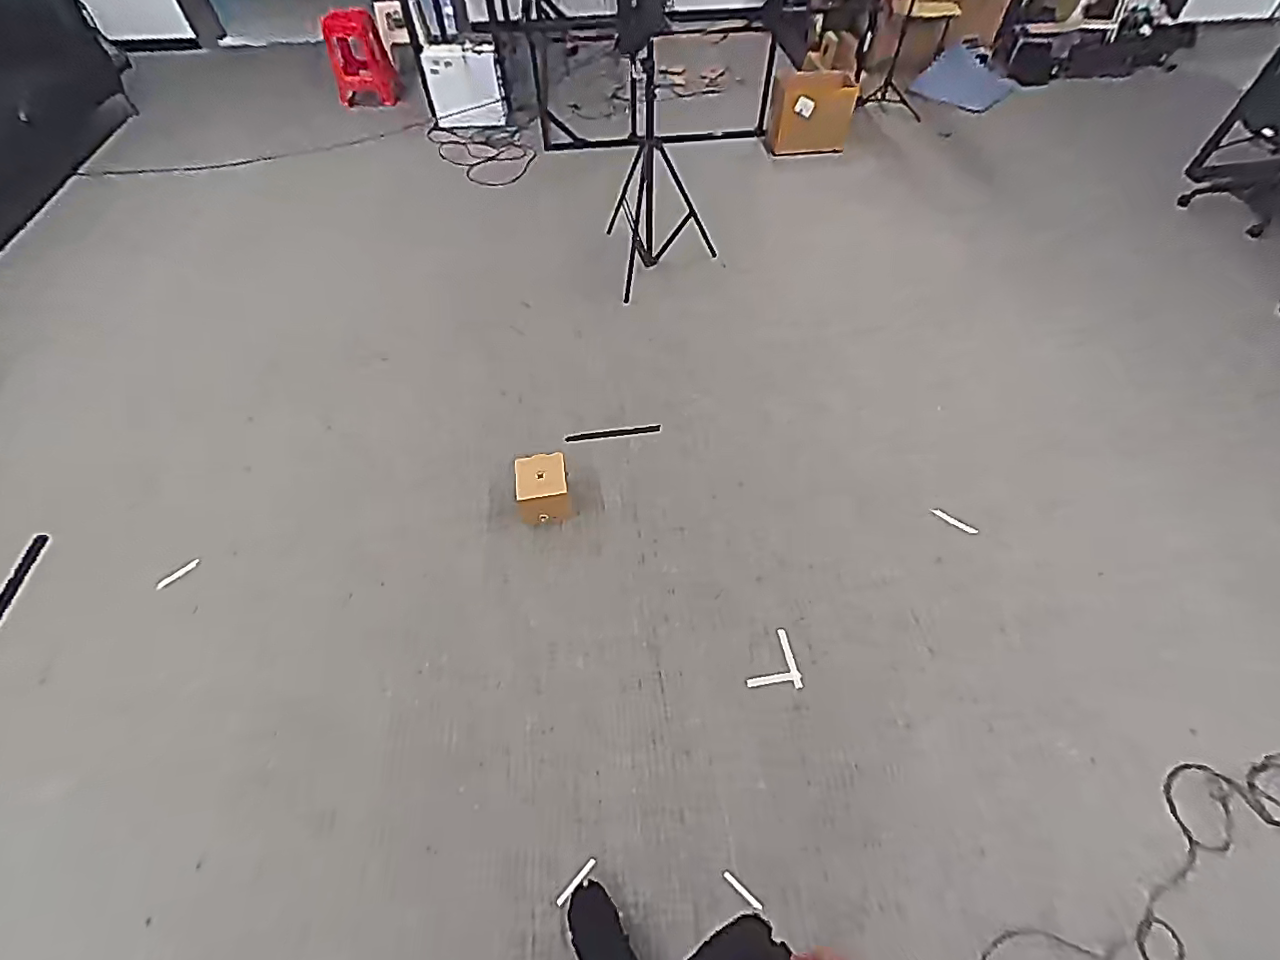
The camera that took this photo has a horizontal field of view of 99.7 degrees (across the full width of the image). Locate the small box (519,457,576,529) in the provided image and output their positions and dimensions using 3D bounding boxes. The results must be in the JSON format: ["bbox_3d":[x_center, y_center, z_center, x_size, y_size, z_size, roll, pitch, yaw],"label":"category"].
[{"bbox_3d":[-0.317,0.046,1.857,0.168,0.176,0.179,-9,55,-4],"label":"small box"}]
